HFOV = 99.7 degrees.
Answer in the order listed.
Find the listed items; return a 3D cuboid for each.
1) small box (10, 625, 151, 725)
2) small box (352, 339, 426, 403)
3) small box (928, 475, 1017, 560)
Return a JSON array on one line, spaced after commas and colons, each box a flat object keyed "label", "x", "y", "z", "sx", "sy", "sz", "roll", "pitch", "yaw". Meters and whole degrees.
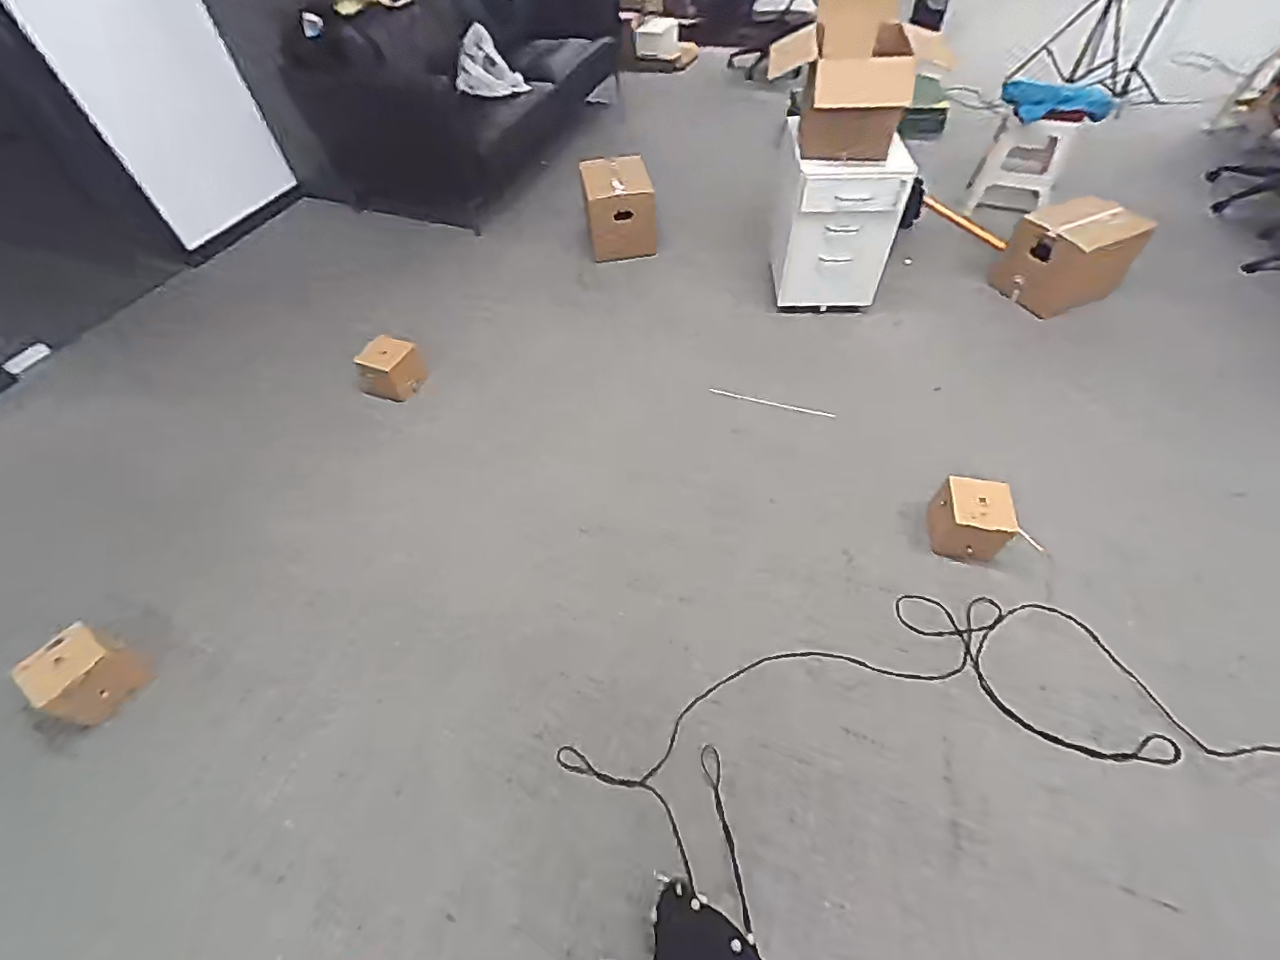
[{"label": "small box", "x": -1.461, "y": 0.520, "z": 1.426, "sx": 0.179, "sy": 0.176, "sz": 0.168, "roll": 27, "pitch": 58, "yaw": 21}, {"label": "small box", "x": -0.989, "y": -0.430, "z": 2.147, "sx": 0.179, "sy": 0.176, "sz": 0.168, "roll": 17, "pitch": 56, "yaw": 14}, {"label": "small box", "x": 0.976, "y": 0.113, "z": 1.607, "sx": 0.168, "sy": 0.176, "sz": 0.179, "roll": 9, "pitch": 54, "yaw": 9}]
